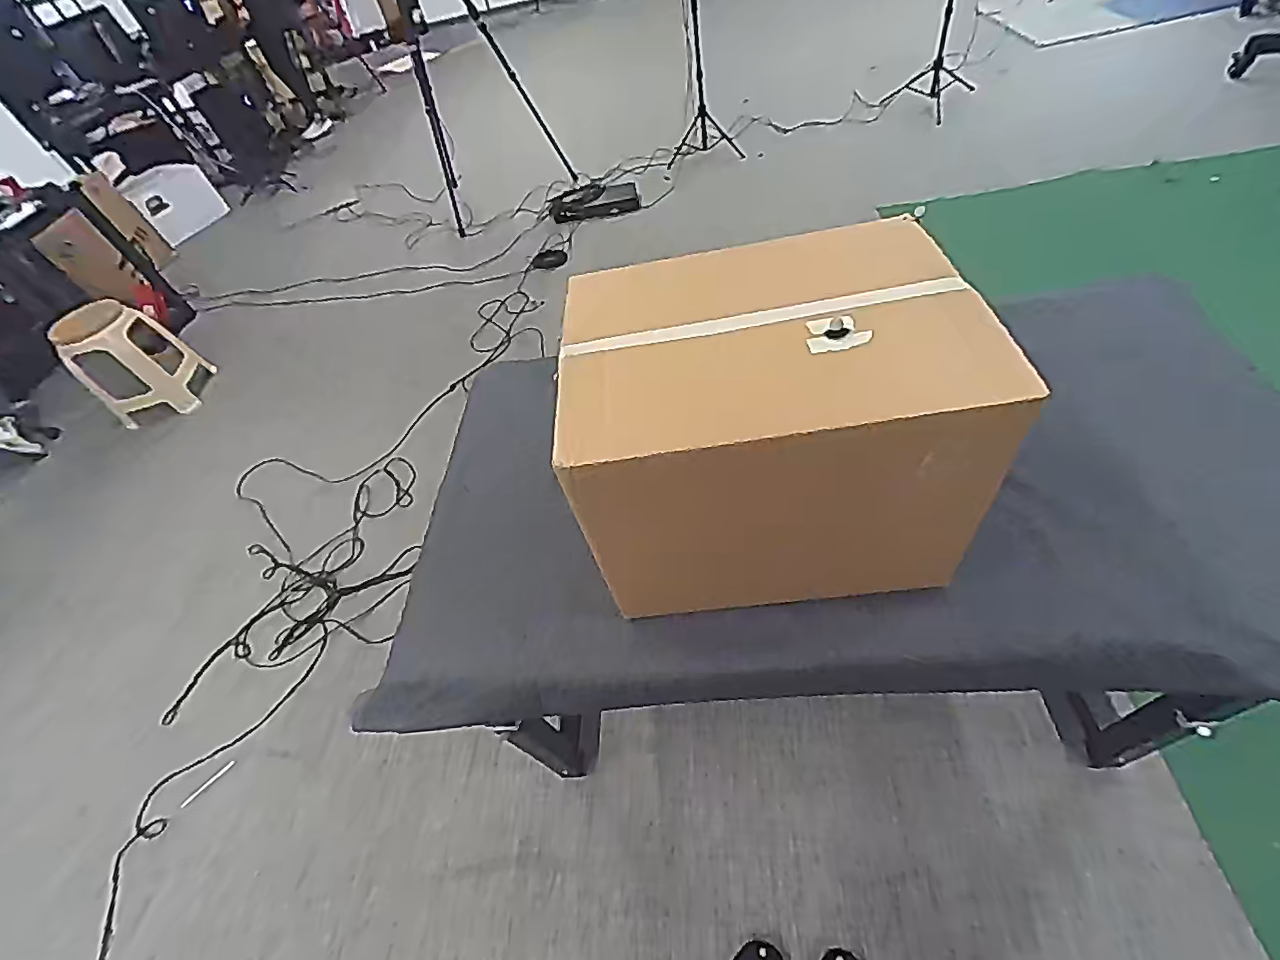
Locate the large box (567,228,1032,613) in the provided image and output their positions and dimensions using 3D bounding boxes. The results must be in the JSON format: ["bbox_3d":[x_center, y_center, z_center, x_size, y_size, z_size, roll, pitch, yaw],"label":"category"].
[{"bbox_3d":[0.144,-0.059,0.667,0.408,0.320,0.320,-7,51,5],"label":"large box"}]
